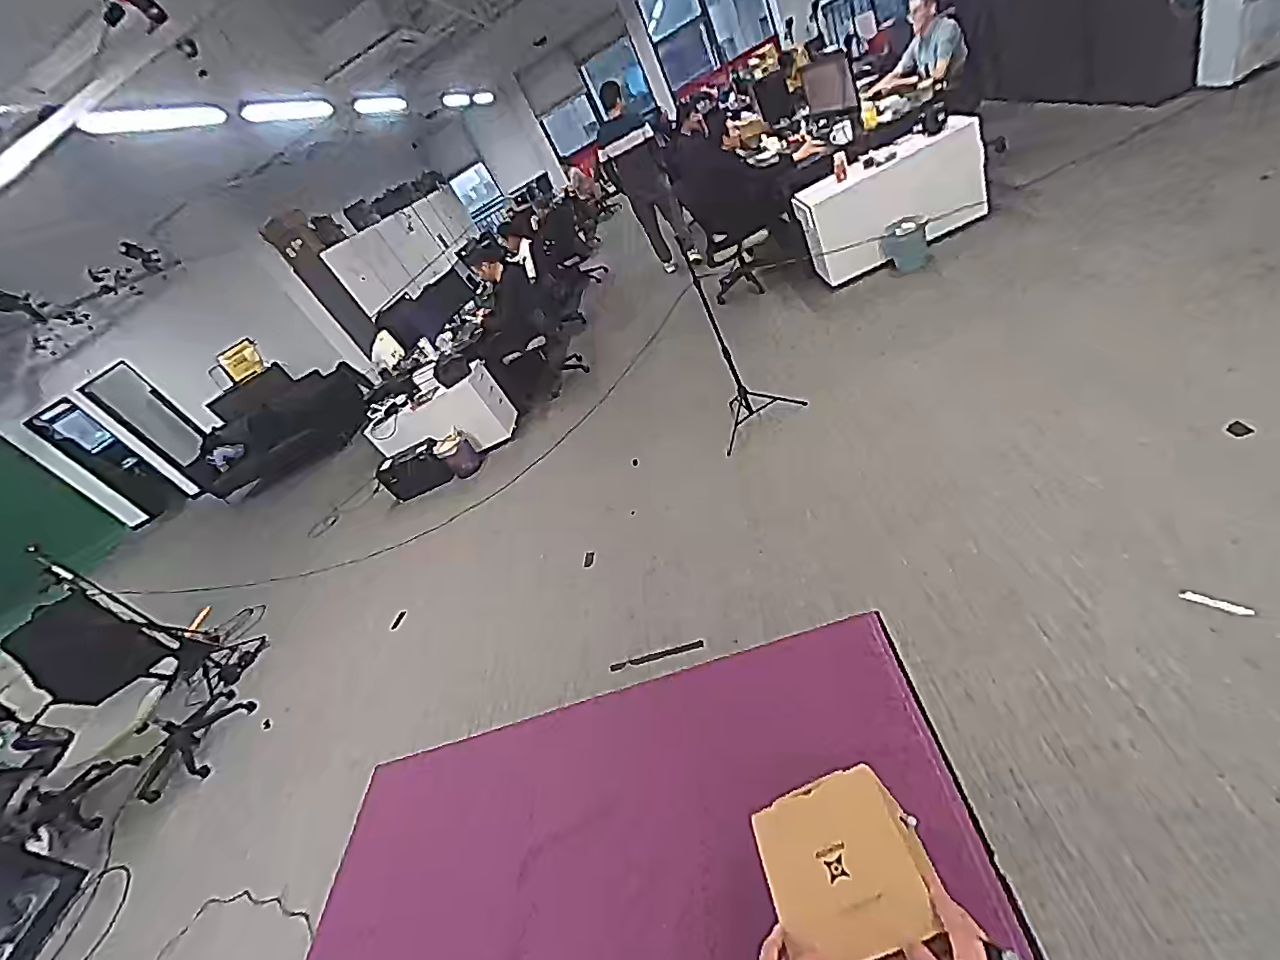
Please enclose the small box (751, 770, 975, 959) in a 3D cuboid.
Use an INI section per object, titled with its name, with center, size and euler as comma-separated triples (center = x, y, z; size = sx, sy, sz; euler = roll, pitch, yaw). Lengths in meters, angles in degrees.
[small box]
center = 0.259, 0.494, 0.640
size = 0.168, 0.176, 0.179
euler = -32, 27, 12
